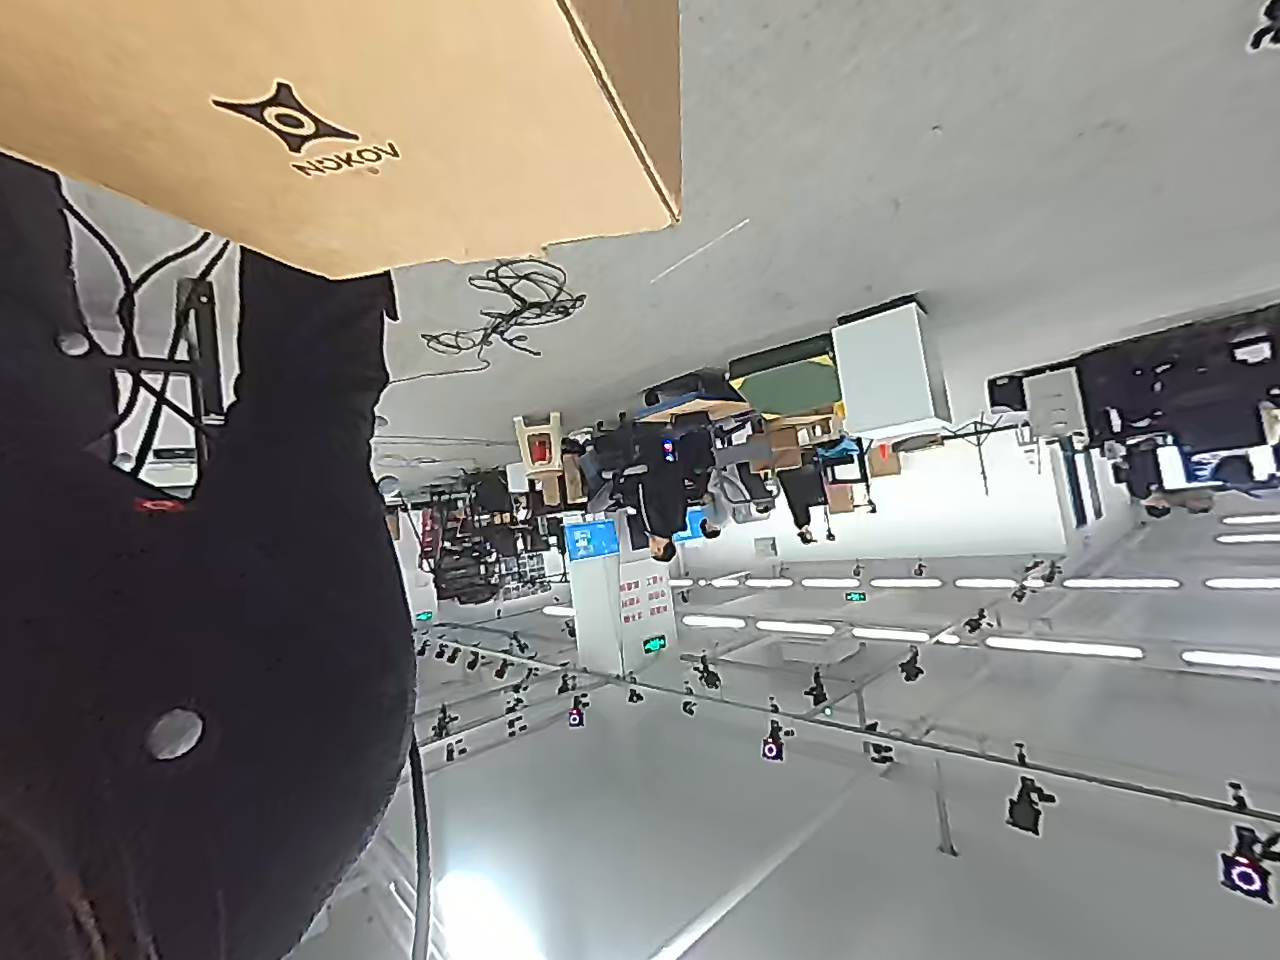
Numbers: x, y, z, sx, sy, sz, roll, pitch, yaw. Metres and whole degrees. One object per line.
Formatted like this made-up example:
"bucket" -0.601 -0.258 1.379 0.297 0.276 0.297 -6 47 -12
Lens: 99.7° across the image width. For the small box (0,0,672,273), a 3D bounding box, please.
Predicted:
"small box" -0.093 -0.177 0.142 0.168 0.176 0.179 -1 -178 17
